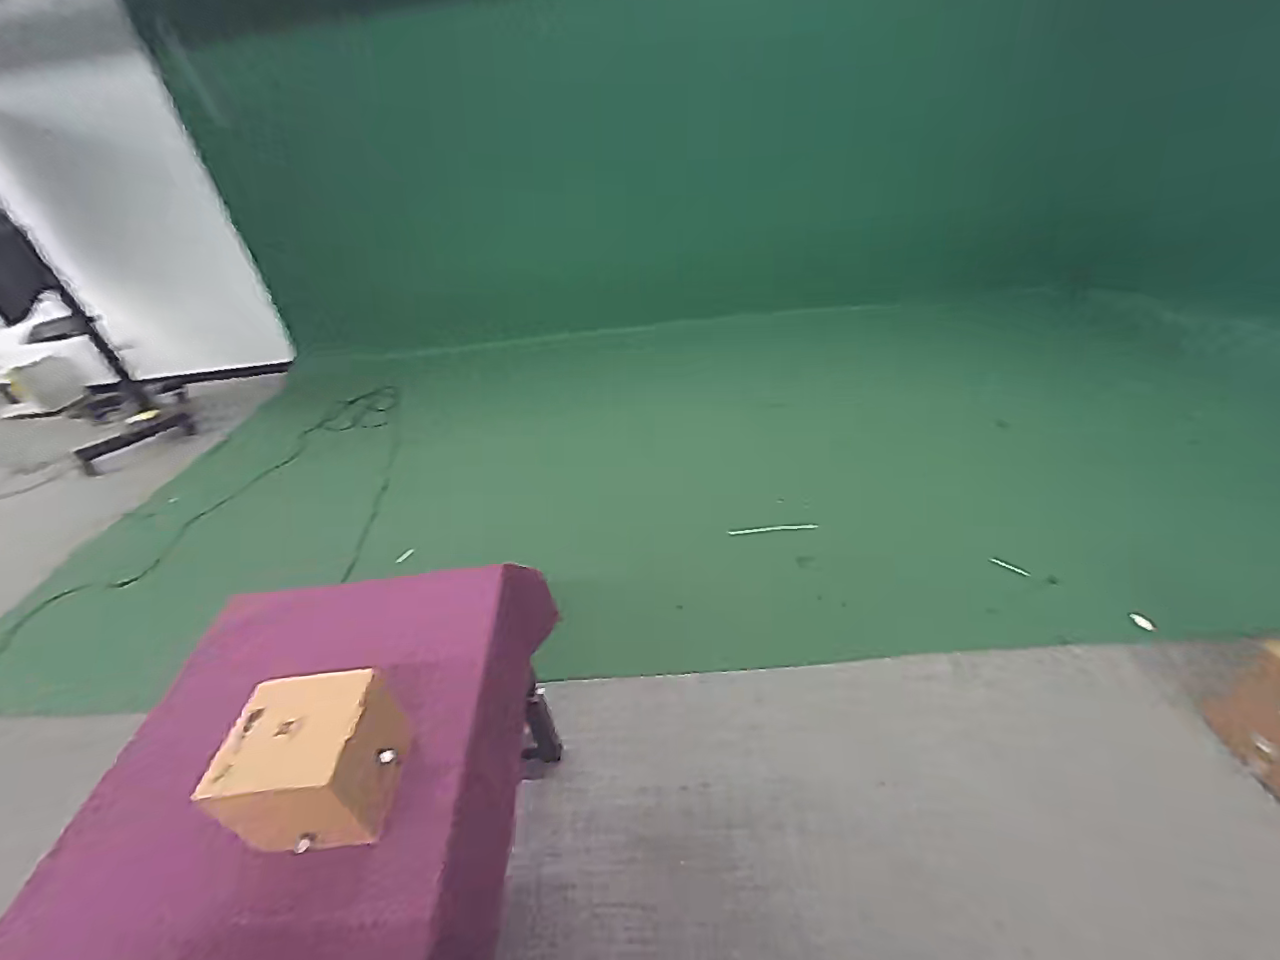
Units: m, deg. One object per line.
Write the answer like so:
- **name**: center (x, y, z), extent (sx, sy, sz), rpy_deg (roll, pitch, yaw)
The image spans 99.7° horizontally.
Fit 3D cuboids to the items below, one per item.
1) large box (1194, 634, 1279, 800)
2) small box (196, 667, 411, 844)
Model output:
- **large box**: center (1.683, 0.567, 1.256), extent (0.408, 0.320, 0.320), rpy_deg (-5, 36, 1)
- **small box**: center (-0.456, 0.393, 0.773), extent (0.179, 0.176, 0.168), rpy_deg (-6, 36, 2)
